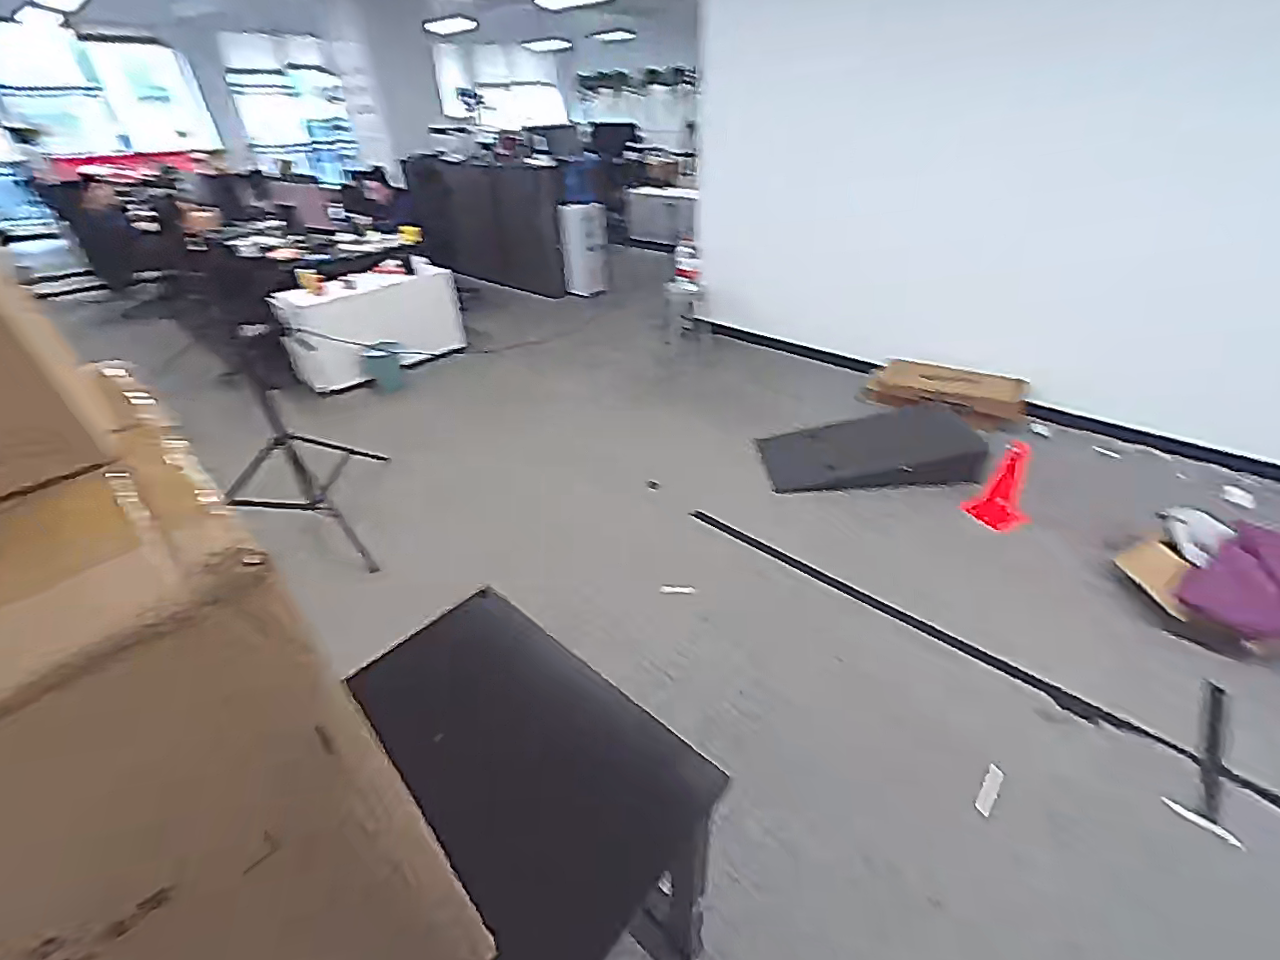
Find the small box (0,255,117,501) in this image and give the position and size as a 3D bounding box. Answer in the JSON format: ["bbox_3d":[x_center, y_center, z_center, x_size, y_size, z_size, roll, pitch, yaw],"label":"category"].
[{"bbox_3d":[-0.441,-0.073,0.293,0.179,0.176,0.168,27,46,36],"label":"small box"}]
